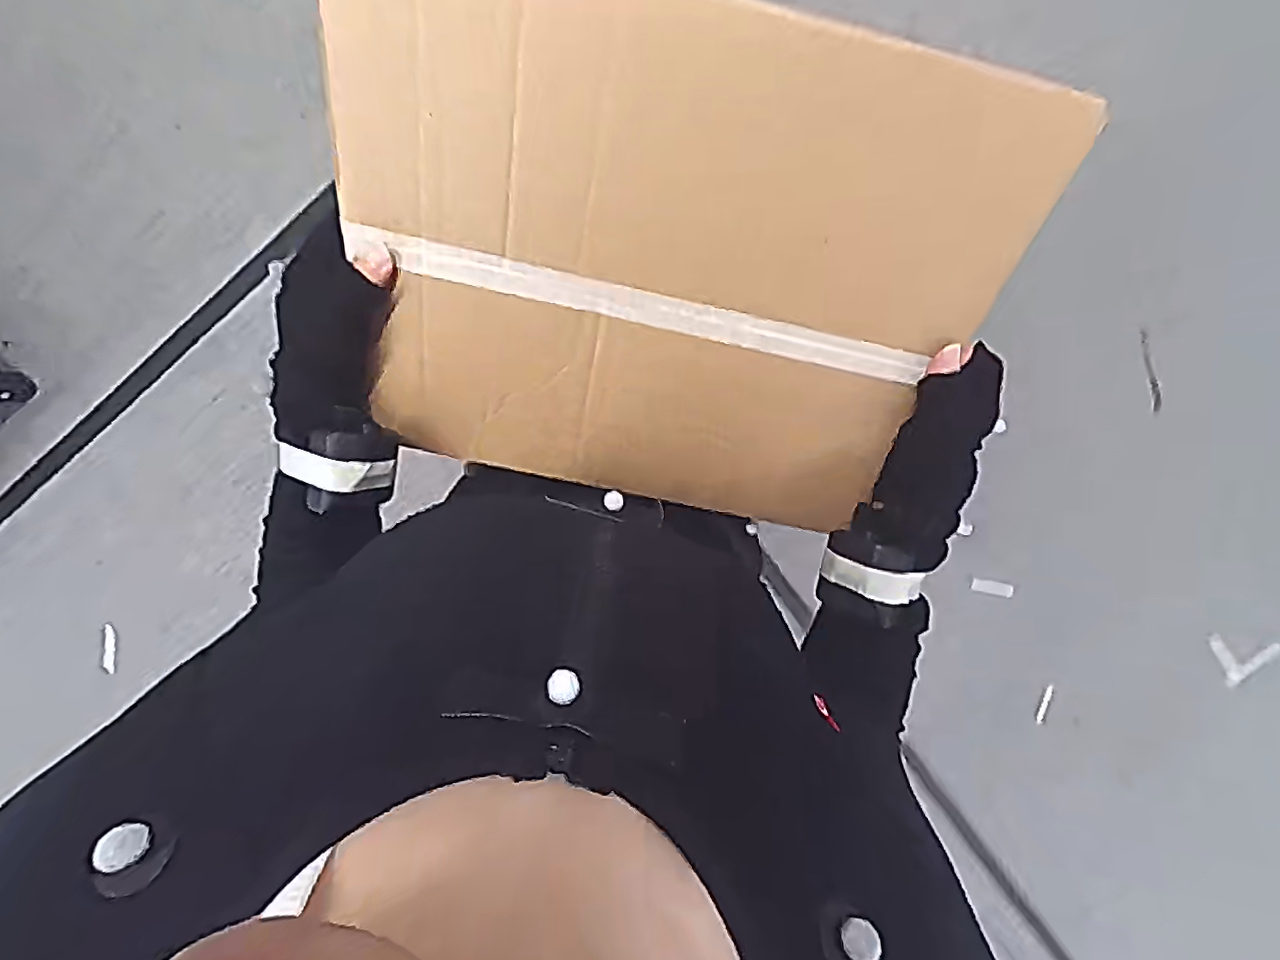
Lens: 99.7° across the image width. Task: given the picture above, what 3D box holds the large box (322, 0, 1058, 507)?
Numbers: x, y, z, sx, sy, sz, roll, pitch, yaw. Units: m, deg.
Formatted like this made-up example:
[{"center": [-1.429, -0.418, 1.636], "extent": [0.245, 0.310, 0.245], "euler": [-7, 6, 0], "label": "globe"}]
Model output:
[{"center": [0.017, -0.216, 0.486], "extent": [0.408, 0.320, 0.320], "euler": [11, 127, -4], "label": "large box"}]
